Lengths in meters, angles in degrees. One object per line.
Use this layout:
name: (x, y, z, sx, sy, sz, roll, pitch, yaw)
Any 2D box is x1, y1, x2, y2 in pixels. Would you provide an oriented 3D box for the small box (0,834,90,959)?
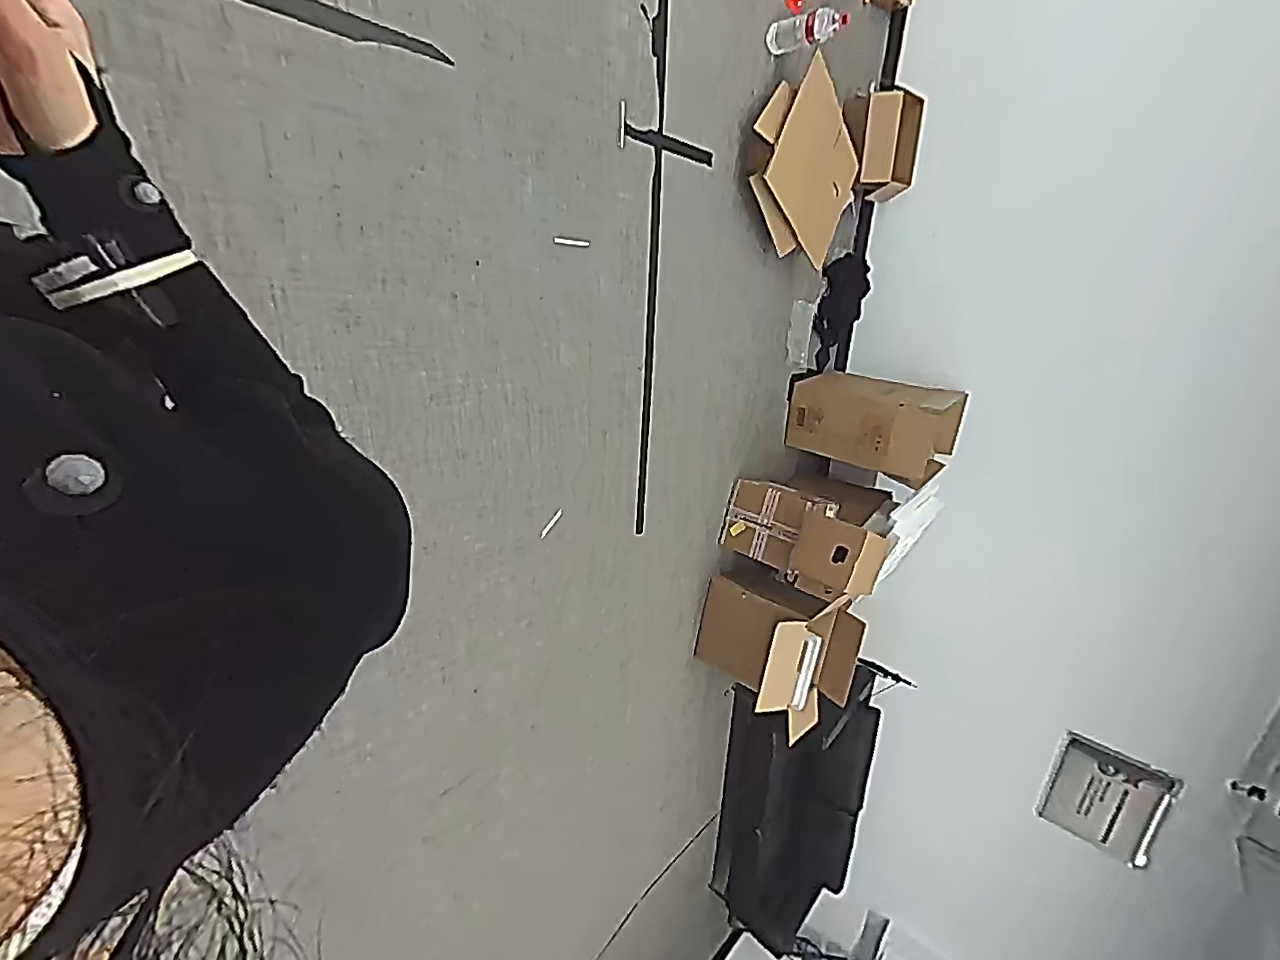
small box: (-1.044, 0.732, 0.876, 0.179, 0.176, 0.168, -19, 117, -44)
